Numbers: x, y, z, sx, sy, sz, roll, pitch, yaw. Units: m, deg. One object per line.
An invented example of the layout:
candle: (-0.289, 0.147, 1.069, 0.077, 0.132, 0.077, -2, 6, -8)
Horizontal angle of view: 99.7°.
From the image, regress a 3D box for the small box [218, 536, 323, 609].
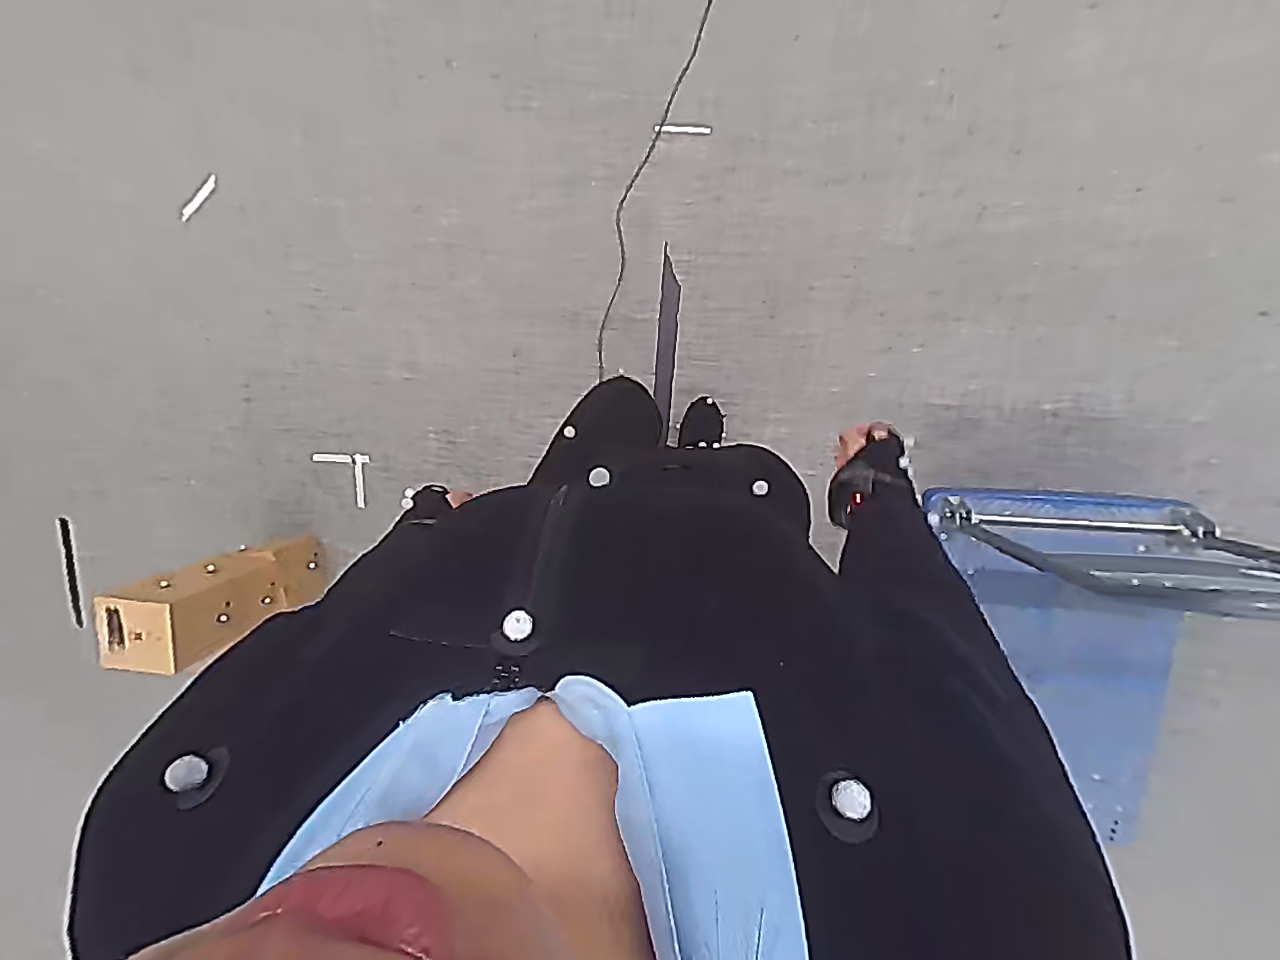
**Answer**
small box: (-1.055, 0.267, 1.548, 0.179, 0.176, 0.168, -7, 100, 6)

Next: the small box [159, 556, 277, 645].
small box: (-1.077, 0.302, 1.390, 0.179, 0.176, 0.168, 5, 100, 4)
